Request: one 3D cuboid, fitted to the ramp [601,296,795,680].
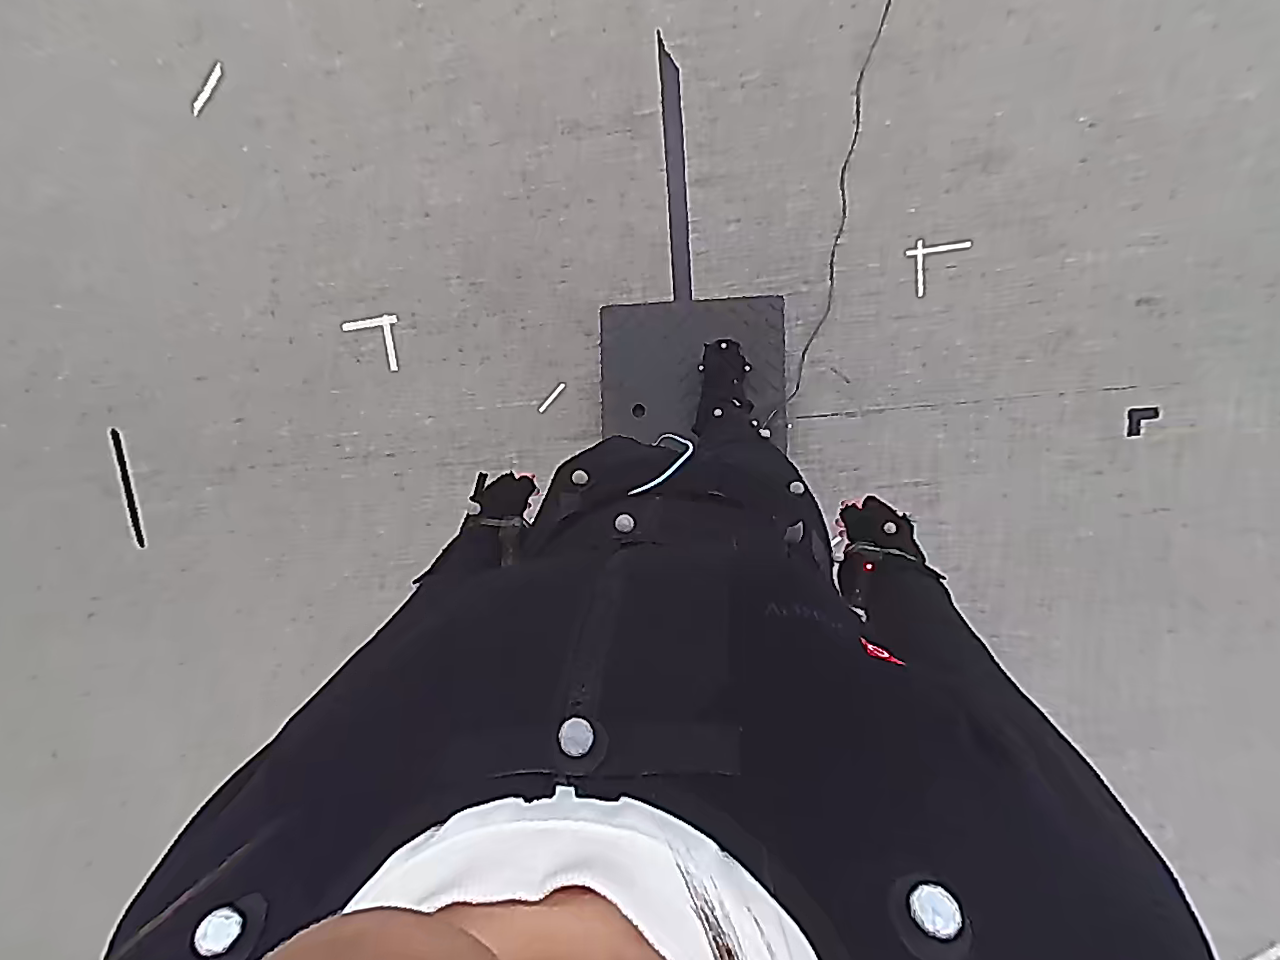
[{"bbox_3d":[0.143,0.021,1.433,0.509,0.206,0.991,-3,97,9],"label":"ramp"}]
